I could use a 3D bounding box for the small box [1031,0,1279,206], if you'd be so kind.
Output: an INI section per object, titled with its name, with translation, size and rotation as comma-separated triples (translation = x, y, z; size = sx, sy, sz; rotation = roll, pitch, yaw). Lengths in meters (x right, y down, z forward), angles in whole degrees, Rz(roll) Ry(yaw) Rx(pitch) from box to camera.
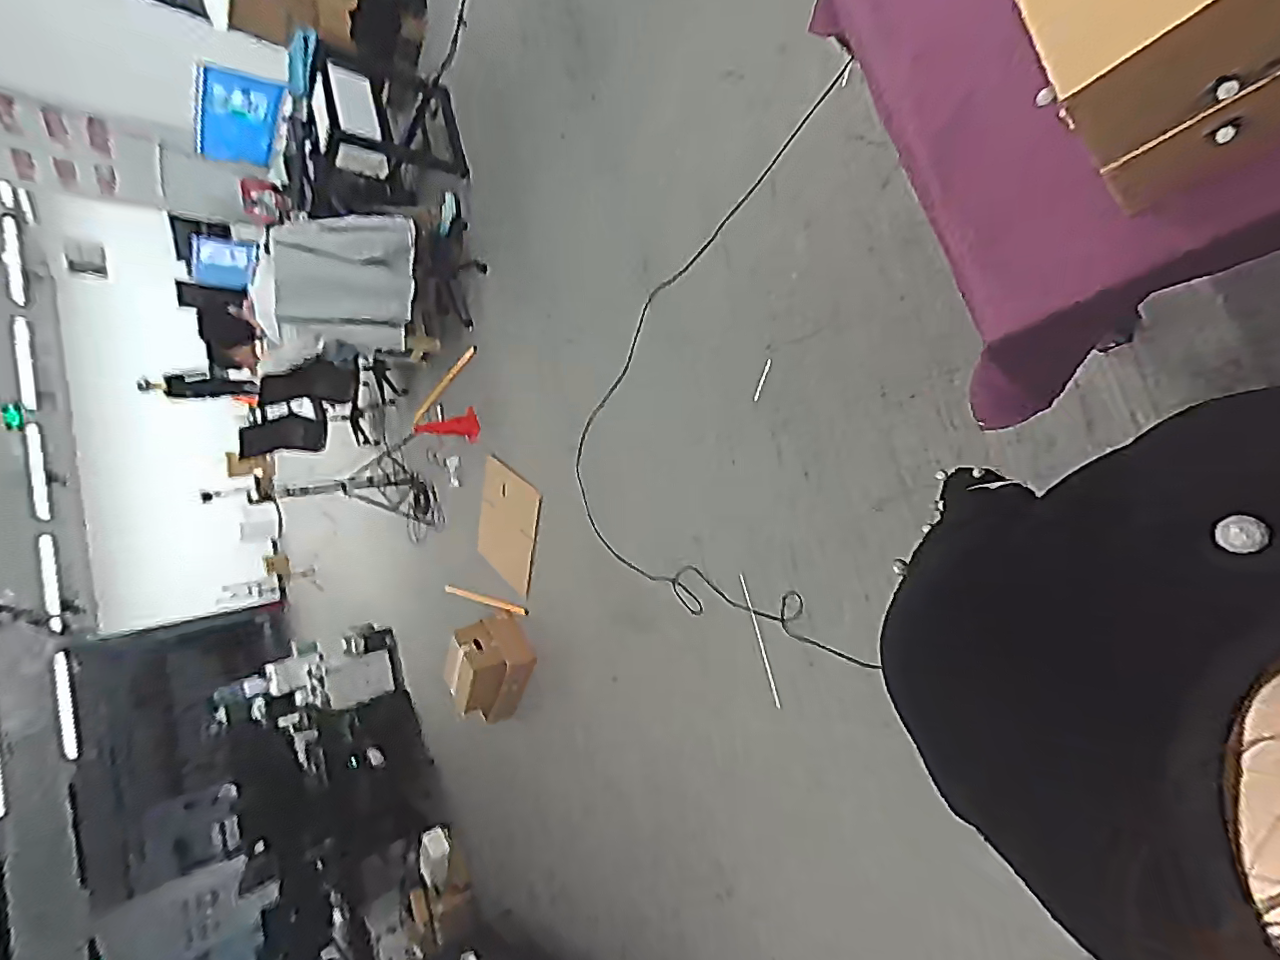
[small box]
translation = 0.501, -0.384, 0.489
size = 0.179, 0.176, 0.168
rotation = -25, 78, 46
